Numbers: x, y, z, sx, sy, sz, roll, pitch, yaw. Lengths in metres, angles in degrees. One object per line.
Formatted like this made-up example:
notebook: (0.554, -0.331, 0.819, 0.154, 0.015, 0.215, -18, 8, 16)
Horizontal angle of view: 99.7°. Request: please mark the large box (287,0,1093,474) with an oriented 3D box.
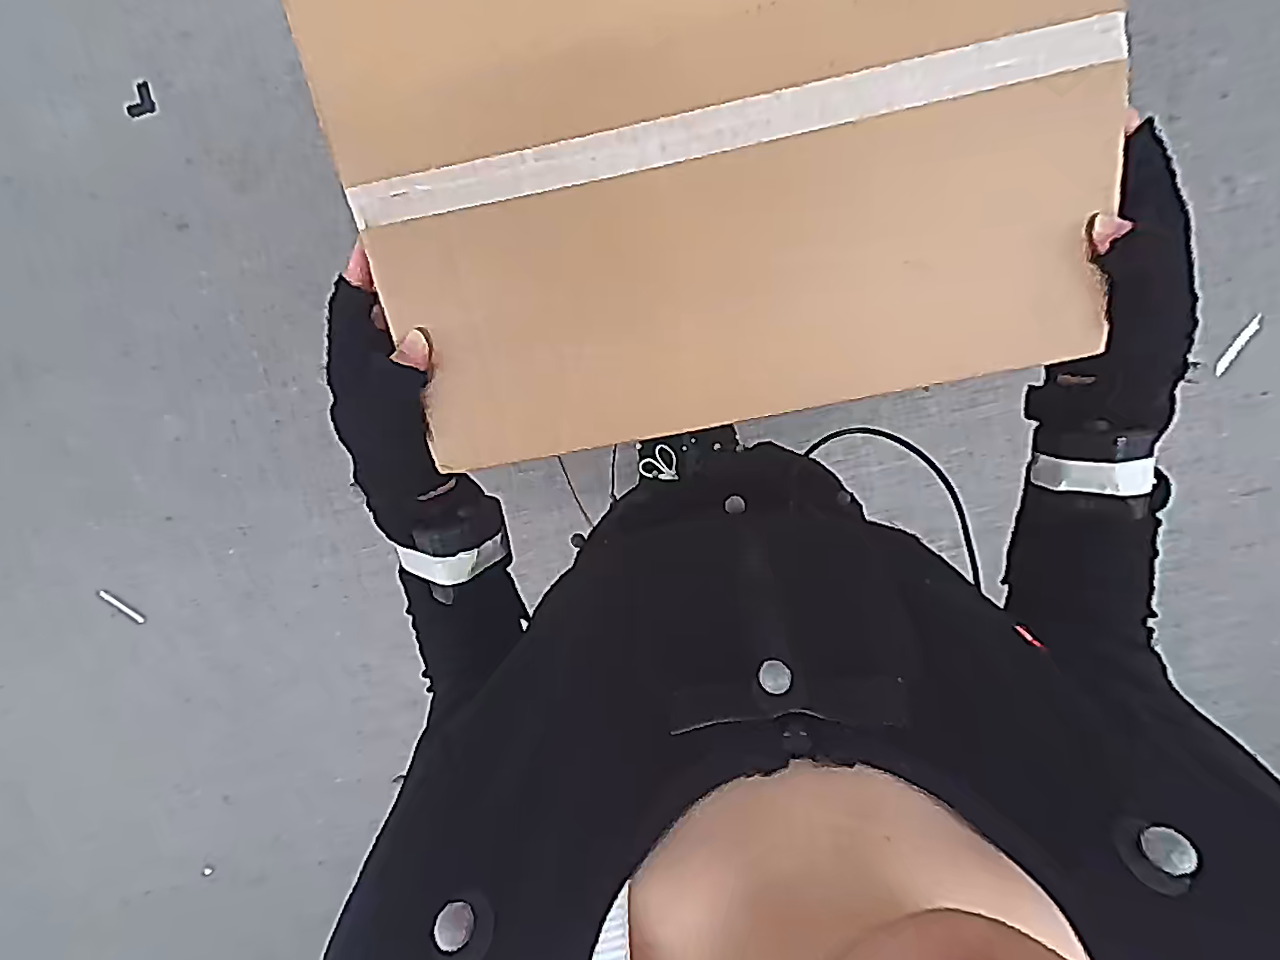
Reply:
large box: (0.039, -0.231, 0.434, 0.408, 0.320, 0.320, -11, 107, 4)
